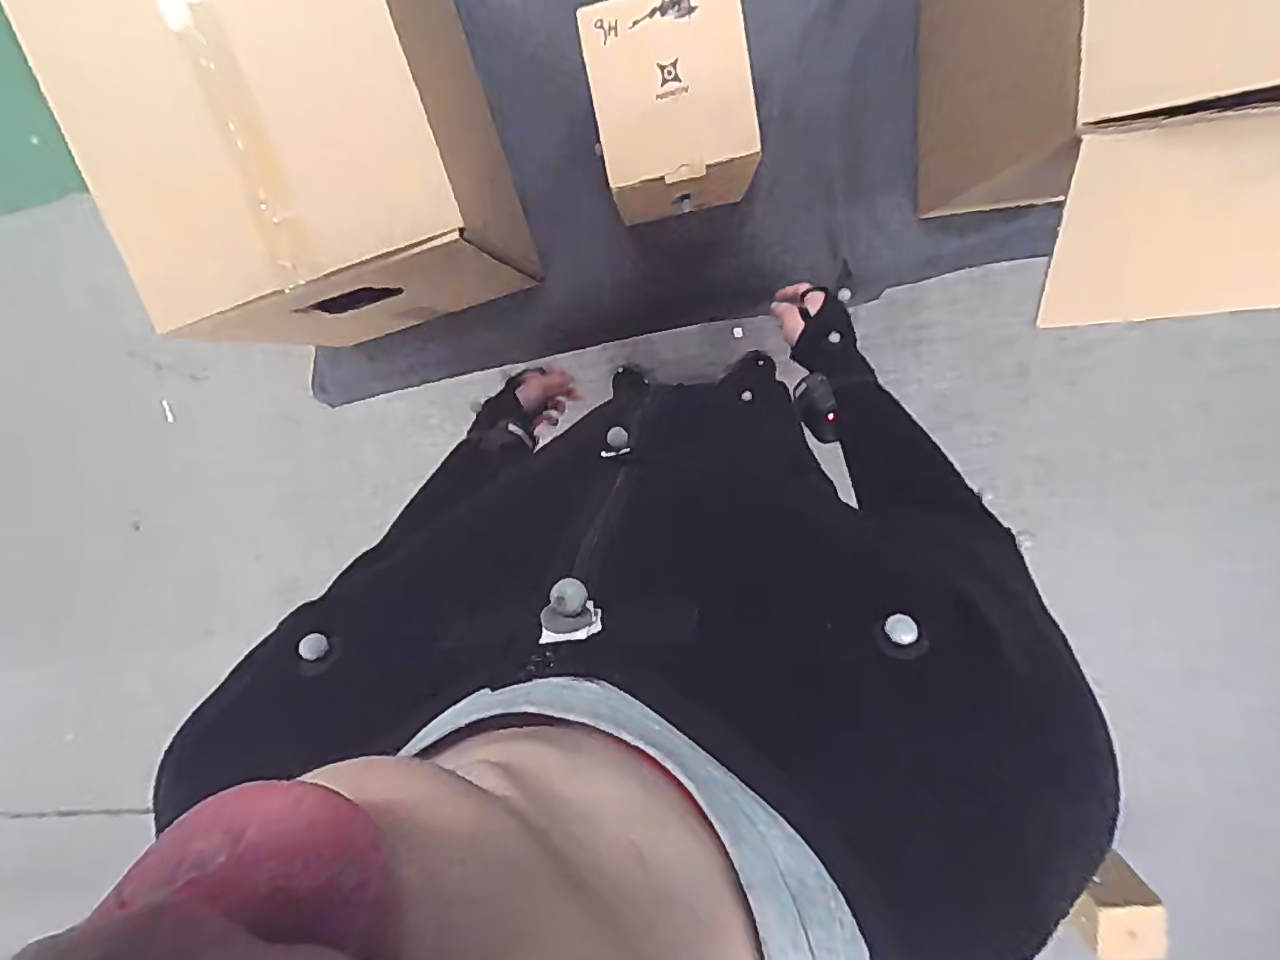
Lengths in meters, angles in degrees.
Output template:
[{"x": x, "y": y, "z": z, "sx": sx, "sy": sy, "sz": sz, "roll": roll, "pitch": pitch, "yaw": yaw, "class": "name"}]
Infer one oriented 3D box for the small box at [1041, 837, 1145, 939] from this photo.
[{"x": 1.286, "y": 1.156, "z": 1.545, "sx": 0.168, "sy": 0.176, "sz": 0.179, "roll": -9, "pitch": 105, "yaw": 6, "class": "small box"}]
